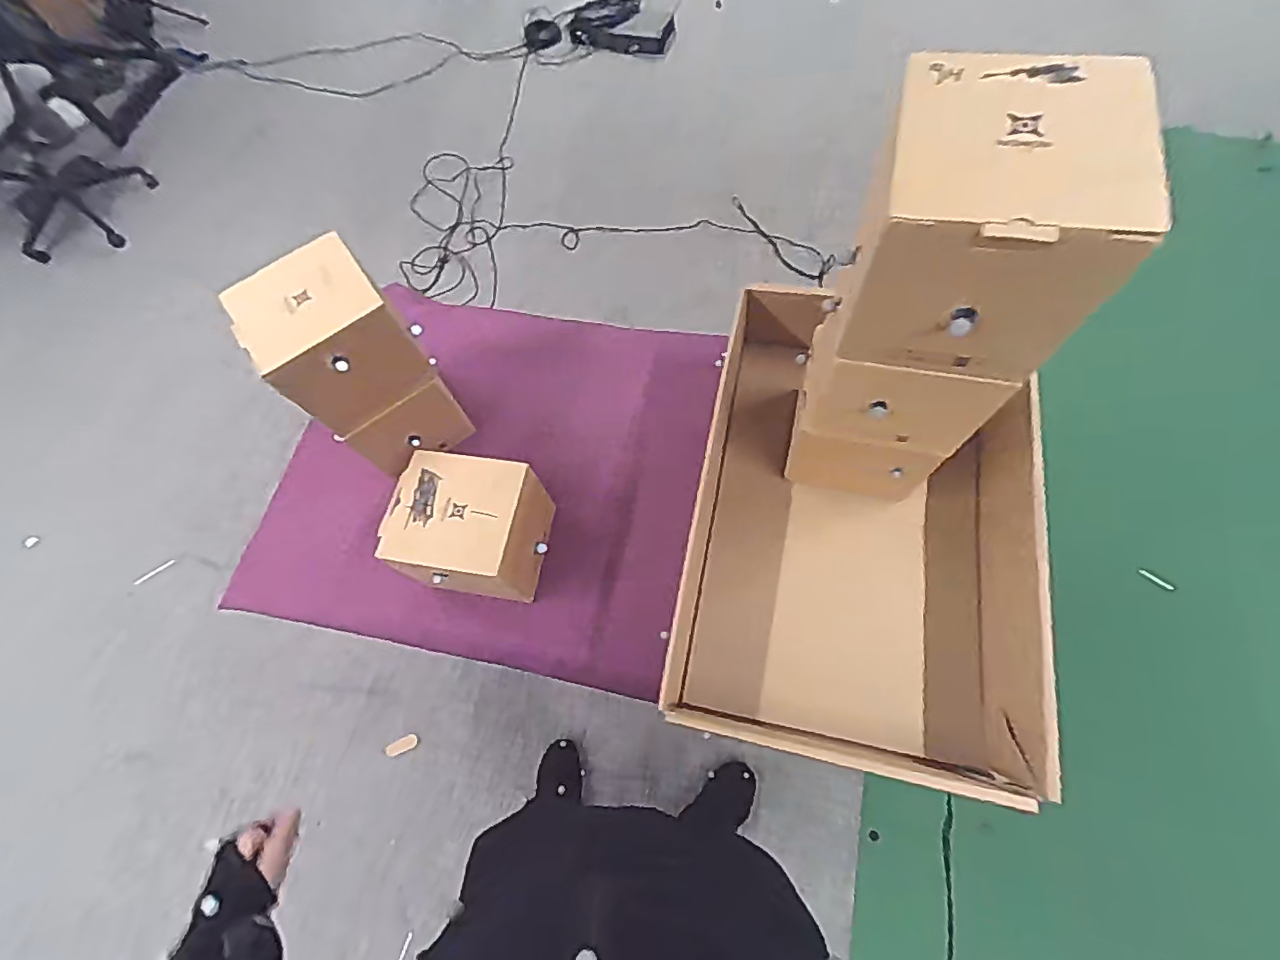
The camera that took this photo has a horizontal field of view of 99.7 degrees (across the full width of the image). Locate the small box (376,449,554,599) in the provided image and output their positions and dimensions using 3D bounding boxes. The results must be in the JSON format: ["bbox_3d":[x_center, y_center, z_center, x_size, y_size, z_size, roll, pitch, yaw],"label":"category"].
[{"bbox_3d":[-0.246,0.072,0.808,0.179,0.176,0.168,8,67,9],"label":"small box"}]

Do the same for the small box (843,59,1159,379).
[{"bbox_3d":[0.279,-0.207,0.455,0.168,0.176,0.179,11,71,11],"label":"small box"}]

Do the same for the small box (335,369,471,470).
[{"bbox_3d":[-0.416,-0.137,0.915,0.168,0.176,0.179,-35,68,-9],"label":"small box"}]

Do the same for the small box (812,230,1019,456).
[{"bbox_3d":[0.297,-0.145,0.606,0.168,0.176,0.179,11,70,12],"label":"small box"}]

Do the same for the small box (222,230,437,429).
[{"bbox_3d":[-0.426,-0.202,0.765,0.179,0.176,0.168,-35,70,-9],"label":"small box"}]
